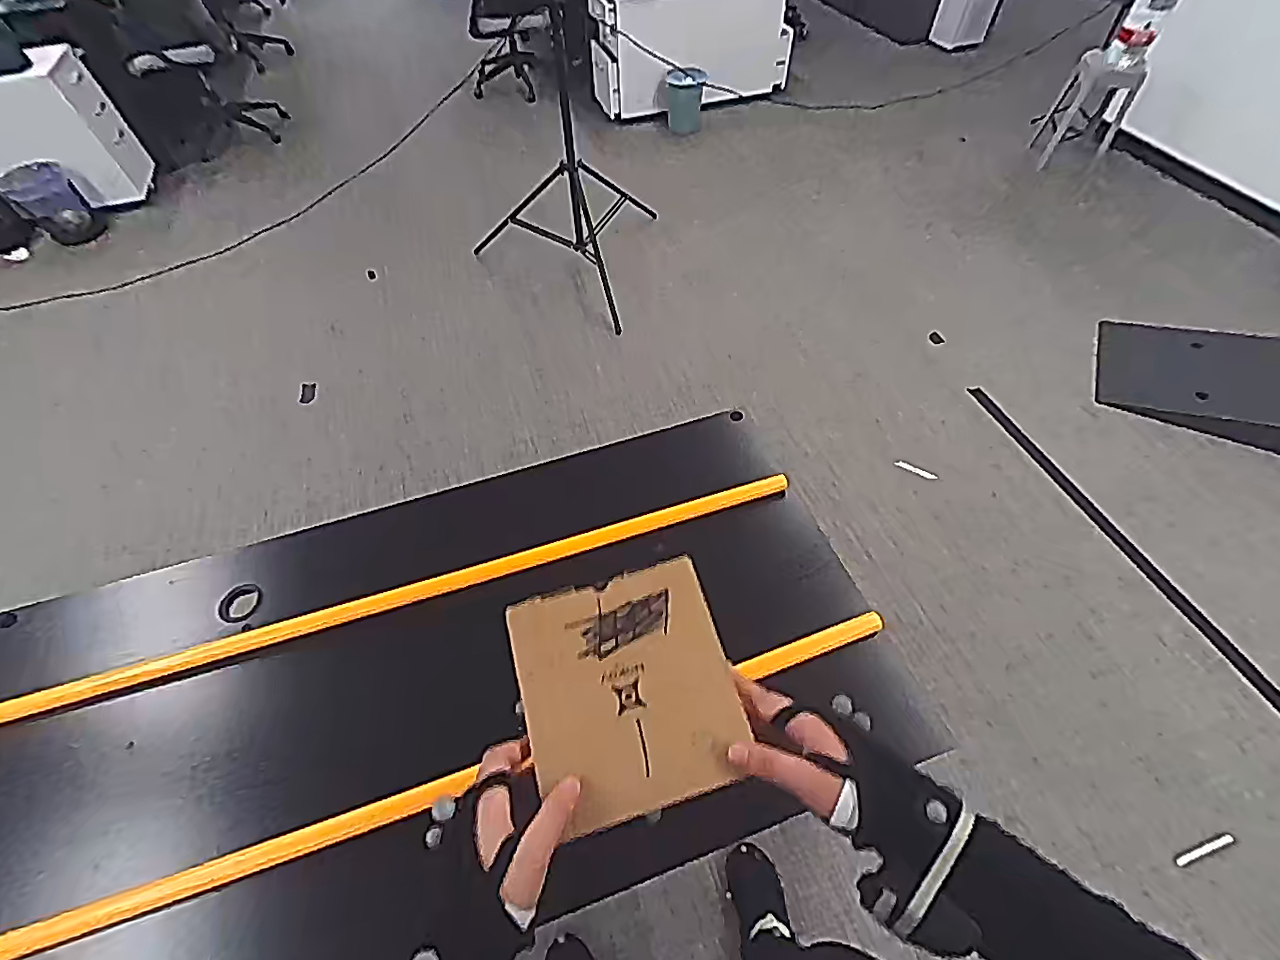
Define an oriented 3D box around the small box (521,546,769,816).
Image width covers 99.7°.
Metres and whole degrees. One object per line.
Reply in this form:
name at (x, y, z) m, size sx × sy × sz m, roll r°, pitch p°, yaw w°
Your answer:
small box at (-0.004, 0.187, 0.506) m, size 0.168 × 0.176 × 0.179 m, roll -15°, pitch 64°, yaw -8°
